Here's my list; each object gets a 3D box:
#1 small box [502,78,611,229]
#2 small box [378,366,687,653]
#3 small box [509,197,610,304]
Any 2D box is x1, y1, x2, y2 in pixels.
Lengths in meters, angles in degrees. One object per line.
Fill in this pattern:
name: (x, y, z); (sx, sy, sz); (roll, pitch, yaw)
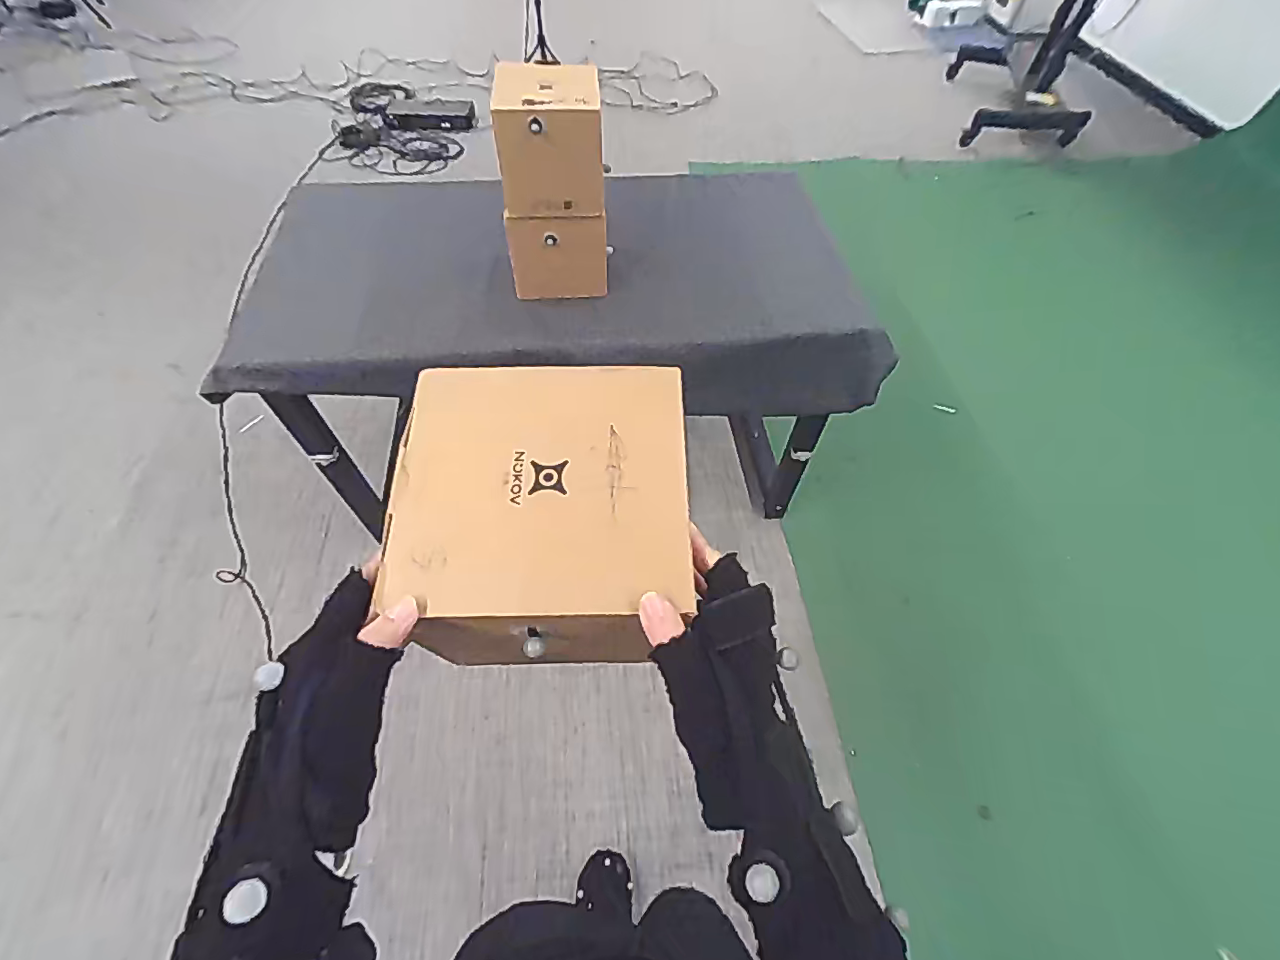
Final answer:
small box: (-0.141, -0.557, 0.928); (0.168, 0.176, 0.179); (-4, 56, -6)
small box: (-0.061, 0.032, 0.407); (0.179, 0.176, 0.168); (0, 63, -2)
small box: (-0.151, -0.461, 1.057); (0.179, 0.176, 0.168); (-3, 55, -5)
